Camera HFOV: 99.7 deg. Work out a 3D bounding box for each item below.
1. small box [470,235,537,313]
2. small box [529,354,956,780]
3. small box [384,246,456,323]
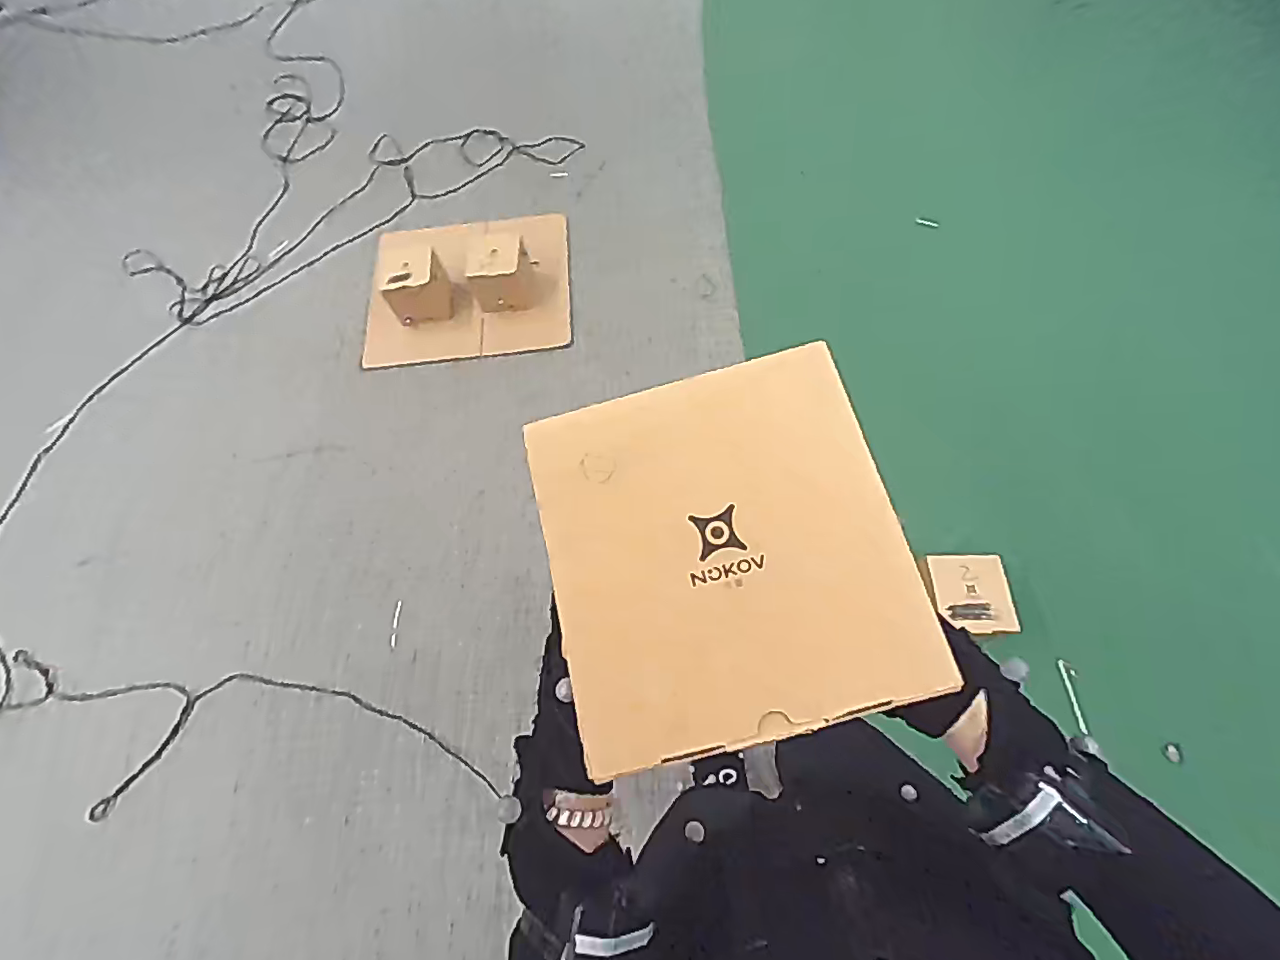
[{"bbox_3d":[-0.443,-0.677,1.788,0.168,0.176,0.179,-2,67,4],"label":"small box"},{"bbox_3d":[0.046,0.055,0.335,0.168,0.176,0.179,-16,73,1],"label":"small box"},{"bbox_3d":[-0.720,-0.636,1.787,0.168,0.176,0.179,-7,65,1],"label":"small box"}]
